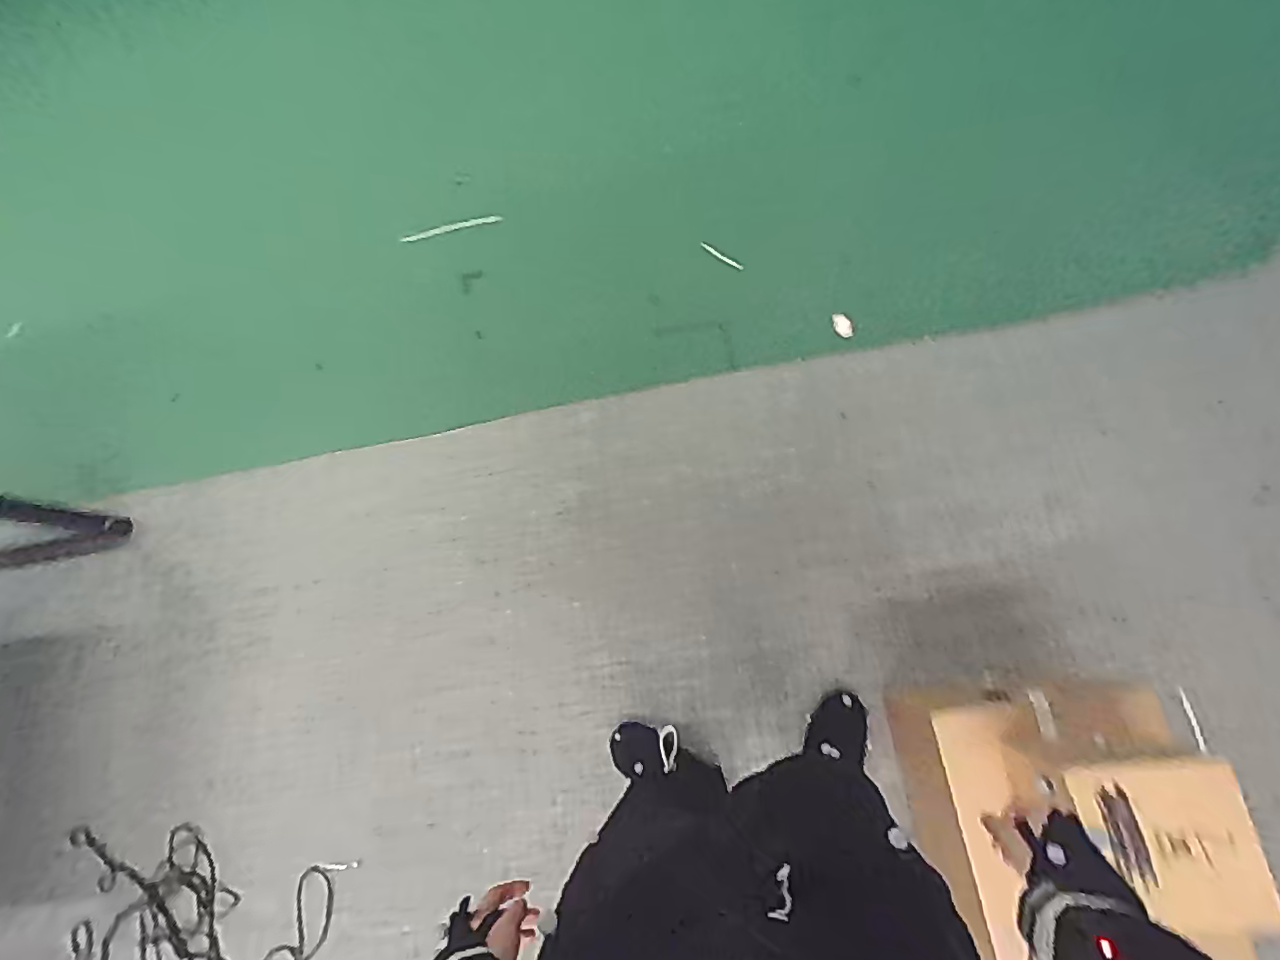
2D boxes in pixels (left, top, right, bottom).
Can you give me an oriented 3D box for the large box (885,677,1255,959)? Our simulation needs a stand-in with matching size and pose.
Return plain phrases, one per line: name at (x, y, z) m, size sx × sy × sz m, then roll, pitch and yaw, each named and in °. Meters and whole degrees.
large box at (0.645, 0.565, 0.883) m, size 0.320 × 0.320 × 0.408 m, roll -11°, pitch 74°, yaw 8°
